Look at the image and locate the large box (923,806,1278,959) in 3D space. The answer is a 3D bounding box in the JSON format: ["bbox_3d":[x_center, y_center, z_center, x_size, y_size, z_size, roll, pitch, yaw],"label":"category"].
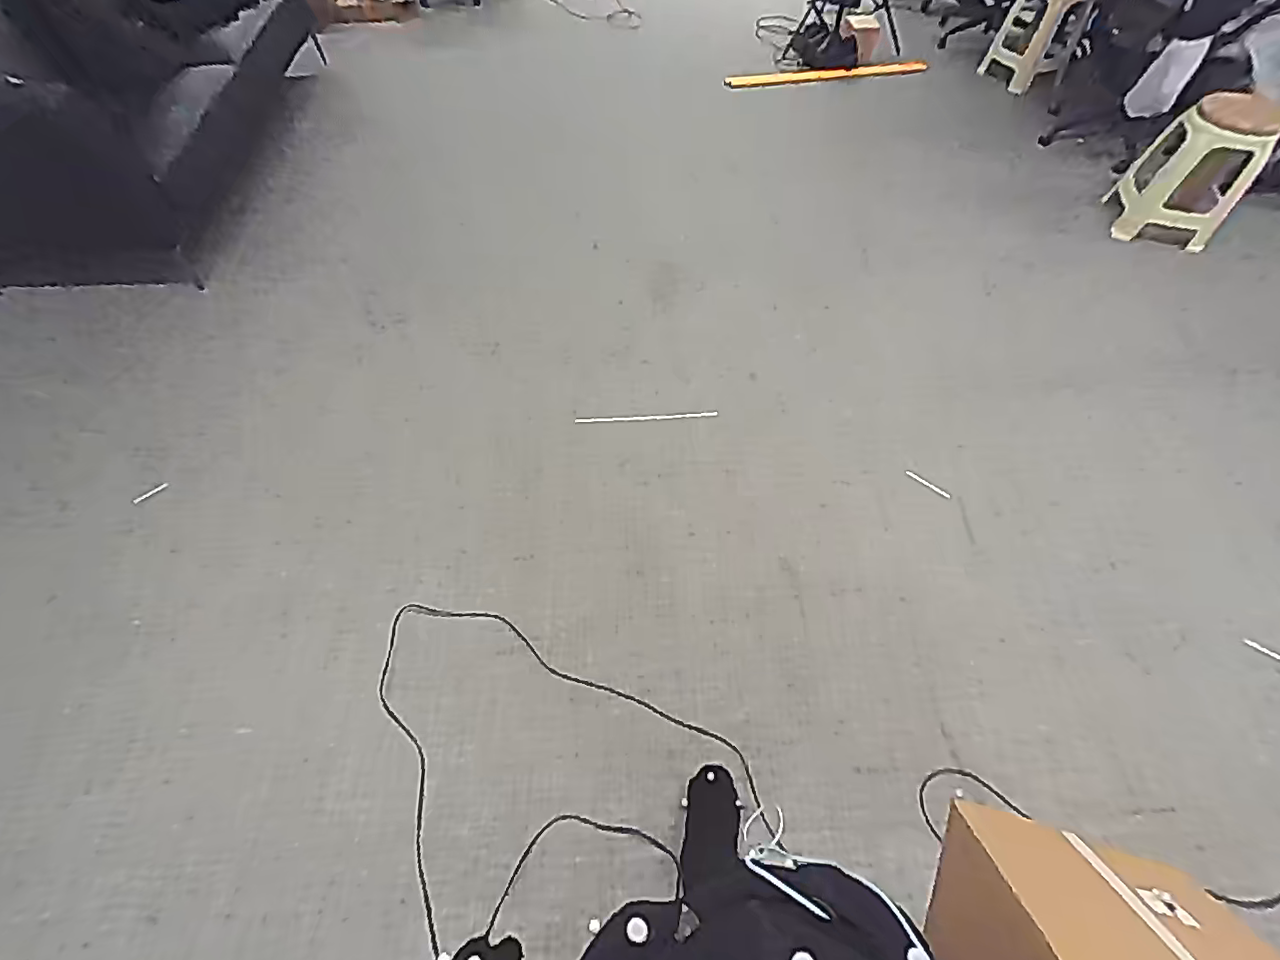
[{"bbox_3d":[0.564,0.676,0.621,0.320,0.408,0.320,13,90,12],"label":"large box"}]
